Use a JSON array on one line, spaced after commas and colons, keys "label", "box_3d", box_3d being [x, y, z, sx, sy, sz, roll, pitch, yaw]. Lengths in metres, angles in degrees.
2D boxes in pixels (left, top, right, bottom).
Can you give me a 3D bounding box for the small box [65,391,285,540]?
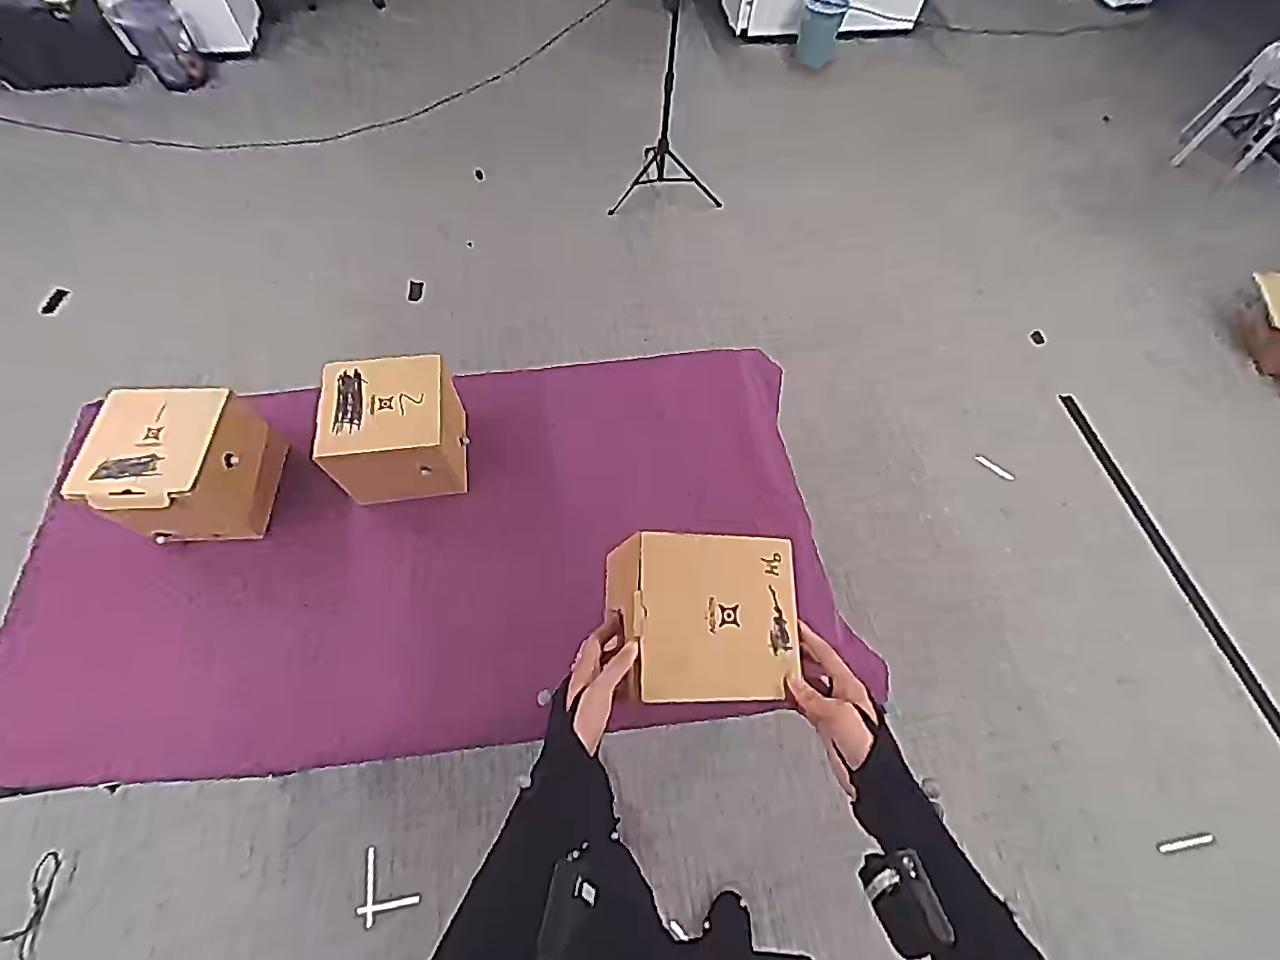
[{"label": "small box", "box_3d": [-0.675, -0.014, 0.815, 0.168, 0.176, 0.179, -1, 63, -4]}]
